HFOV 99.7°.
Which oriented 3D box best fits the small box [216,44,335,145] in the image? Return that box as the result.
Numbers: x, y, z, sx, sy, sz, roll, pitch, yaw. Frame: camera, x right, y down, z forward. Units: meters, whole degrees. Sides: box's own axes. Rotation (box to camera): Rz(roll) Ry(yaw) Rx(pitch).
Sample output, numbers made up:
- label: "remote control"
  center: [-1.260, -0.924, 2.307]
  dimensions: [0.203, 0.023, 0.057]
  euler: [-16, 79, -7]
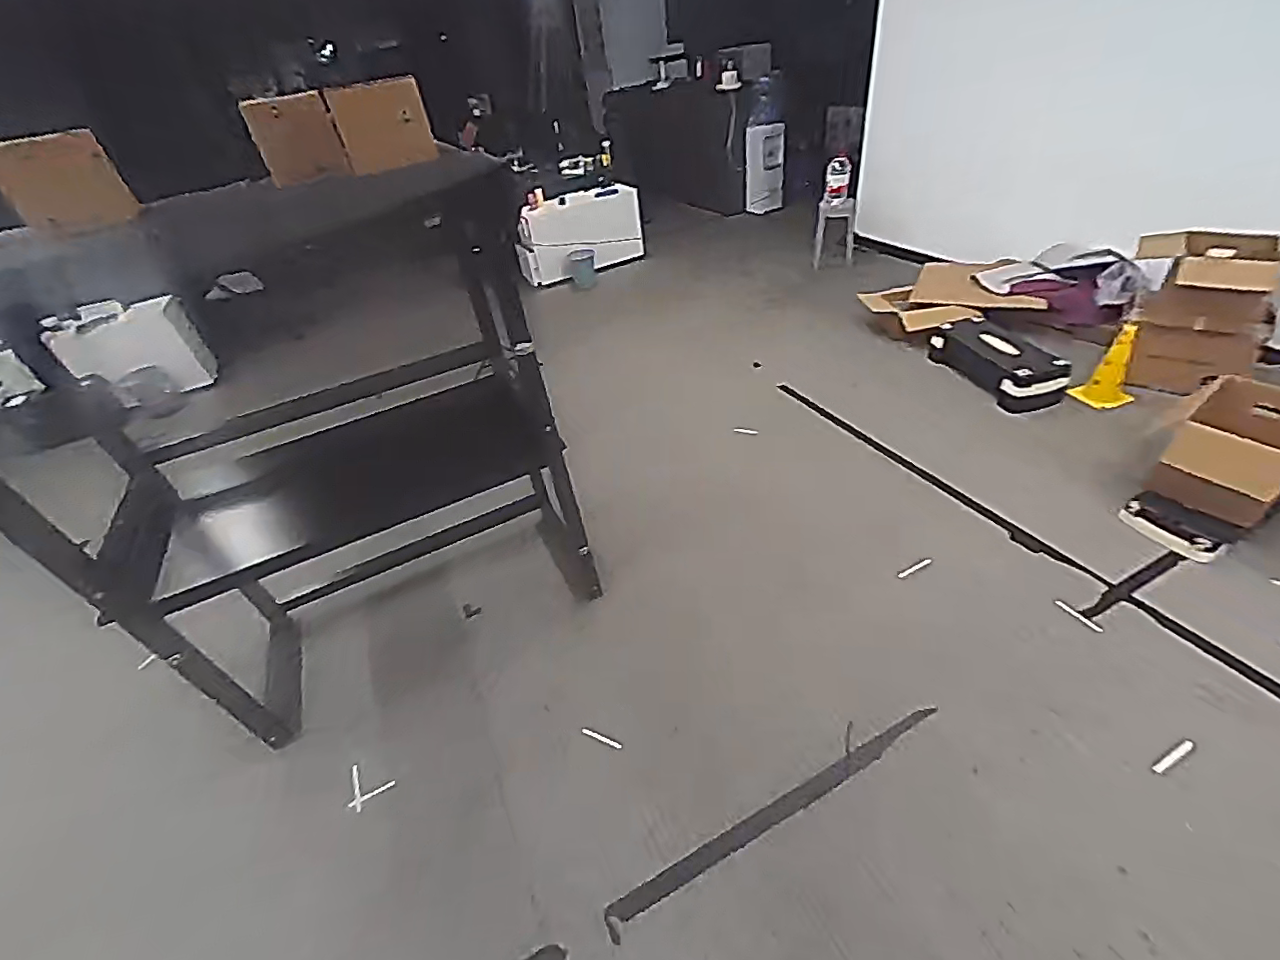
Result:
- label: "small box"
  center: [-0.827, -0.884, 1.246]
  dimensions: [0.168, 0.176, 0.179]
  euler: [-23, 42, -15]

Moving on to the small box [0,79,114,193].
- label: "small box"
  center: [-1.243, -0.705, 1.111]
  dimensions: [0.168, 0.176, 0.179]
  euler: [-25, 43, -19]
